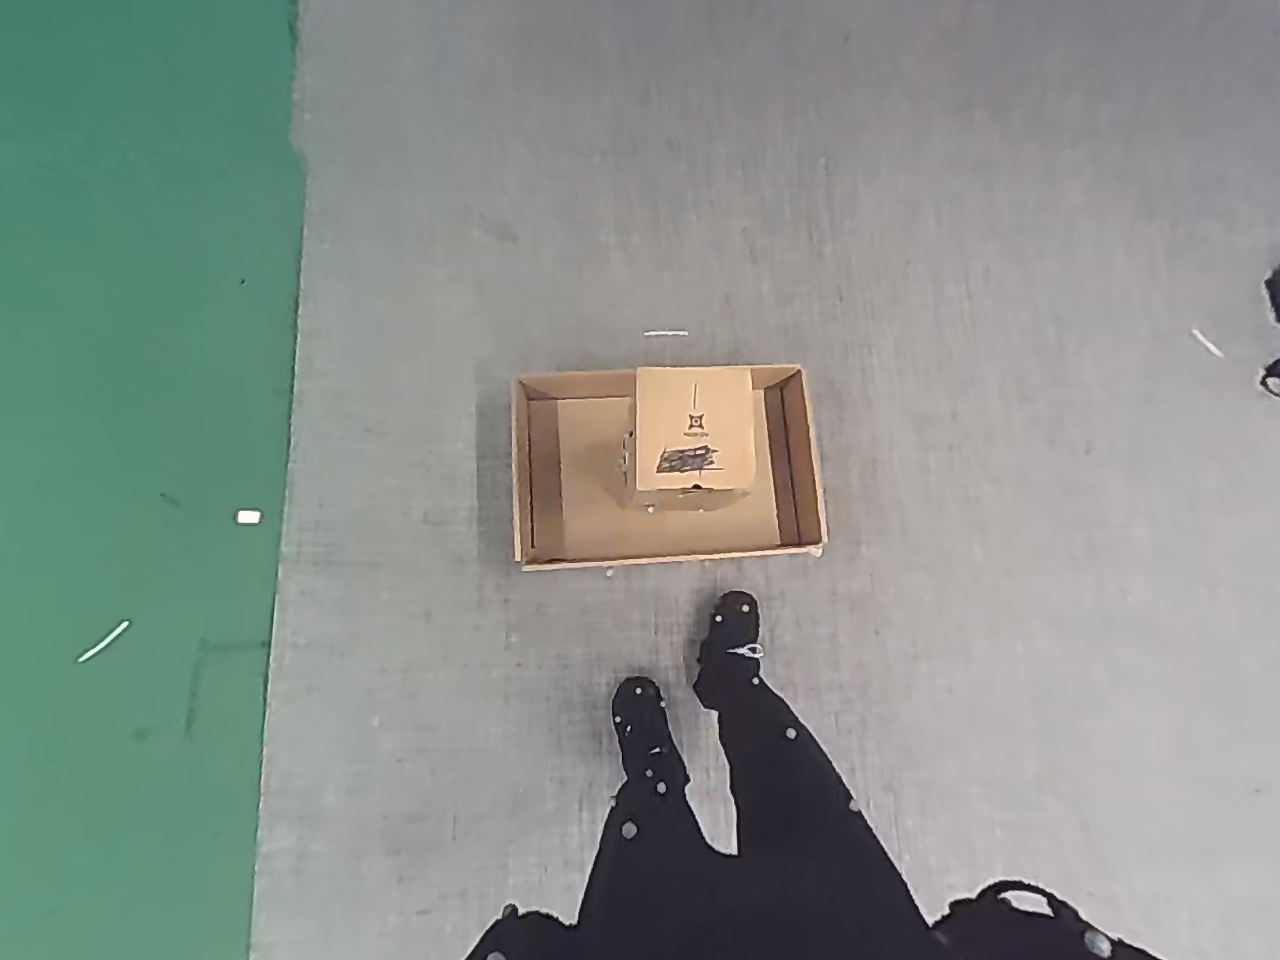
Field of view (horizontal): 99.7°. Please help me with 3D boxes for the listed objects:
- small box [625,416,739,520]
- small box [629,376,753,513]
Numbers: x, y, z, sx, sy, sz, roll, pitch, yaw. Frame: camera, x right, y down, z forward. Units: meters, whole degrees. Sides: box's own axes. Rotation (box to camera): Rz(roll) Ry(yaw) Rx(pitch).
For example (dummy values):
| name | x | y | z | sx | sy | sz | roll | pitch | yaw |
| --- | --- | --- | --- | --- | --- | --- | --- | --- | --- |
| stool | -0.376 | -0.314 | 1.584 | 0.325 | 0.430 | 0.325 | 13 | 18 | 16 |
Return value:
| name | x | y | z | sx | sy | sz | roll | pitch | yaw |
| --- | --- | --- | --- | --- | --- | --- | --- | --- | --- |
| small box | 0.067 | -0.021 | 0.972 | 0.179 | 0.176 | 0.168 | -4 | 80 | -4 |
| small box | 0.071 | -0.045 | 0.825 | 0.168 | 0.176 | 0.179 | 1 | 78 | -3 |
